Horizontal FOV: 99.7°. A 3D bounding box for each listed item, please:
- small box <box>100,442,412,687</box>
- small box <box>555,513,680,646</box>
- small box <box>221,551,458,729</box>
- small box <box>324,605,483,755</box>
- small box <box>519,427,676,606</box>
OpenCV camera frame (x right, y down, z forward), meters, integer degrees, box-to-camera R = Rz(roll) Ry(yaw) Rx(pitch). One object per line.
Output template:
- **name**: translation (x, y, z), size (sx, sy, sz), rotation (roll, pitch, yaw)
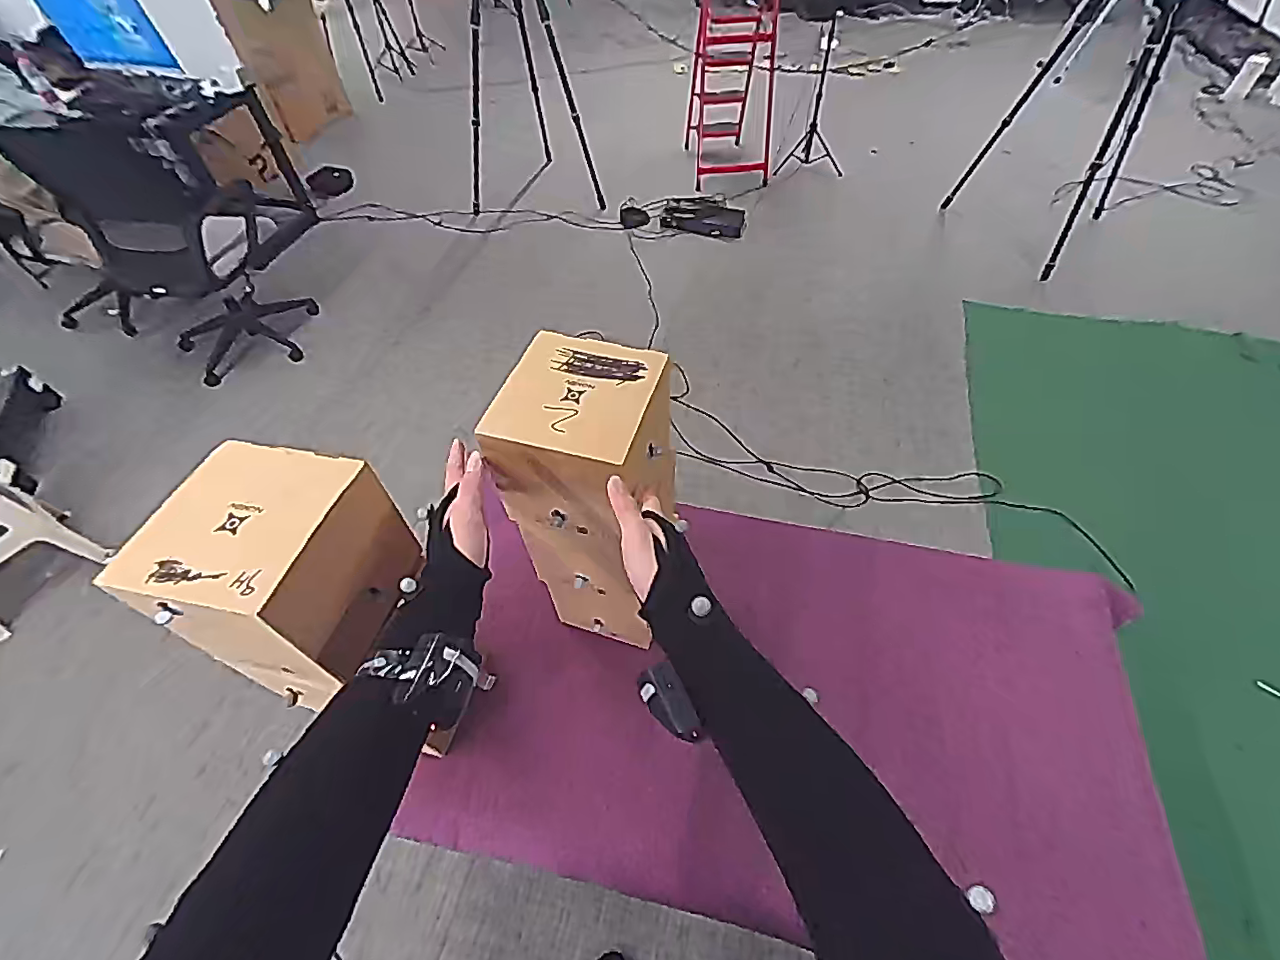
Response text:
- **small box**: translation (-0.366, 0.088, 0.565), size (0.168, 0.176, 0.179), rotation (8, 50, 11)
- **small box**: translation (-0.038, 0.151, 0.915), size (0.168, 0.176, 0.179), rotation (14, 55, 13)
- **small box**: translation (-0.359, 0.195, 0.690), size (0.168, 0.176, 0.179), rotation (10, 51, 11)
- **small box**: translation (-0.356, 0.290, 0.821), size (0.168, 0.176, 0.179), rotation (10, 53, 11)
- **small box**: translation (-0.051, 0.054, 0.783), size (0.168, 0.176, 0.179), rotation (13, 55, 12)
